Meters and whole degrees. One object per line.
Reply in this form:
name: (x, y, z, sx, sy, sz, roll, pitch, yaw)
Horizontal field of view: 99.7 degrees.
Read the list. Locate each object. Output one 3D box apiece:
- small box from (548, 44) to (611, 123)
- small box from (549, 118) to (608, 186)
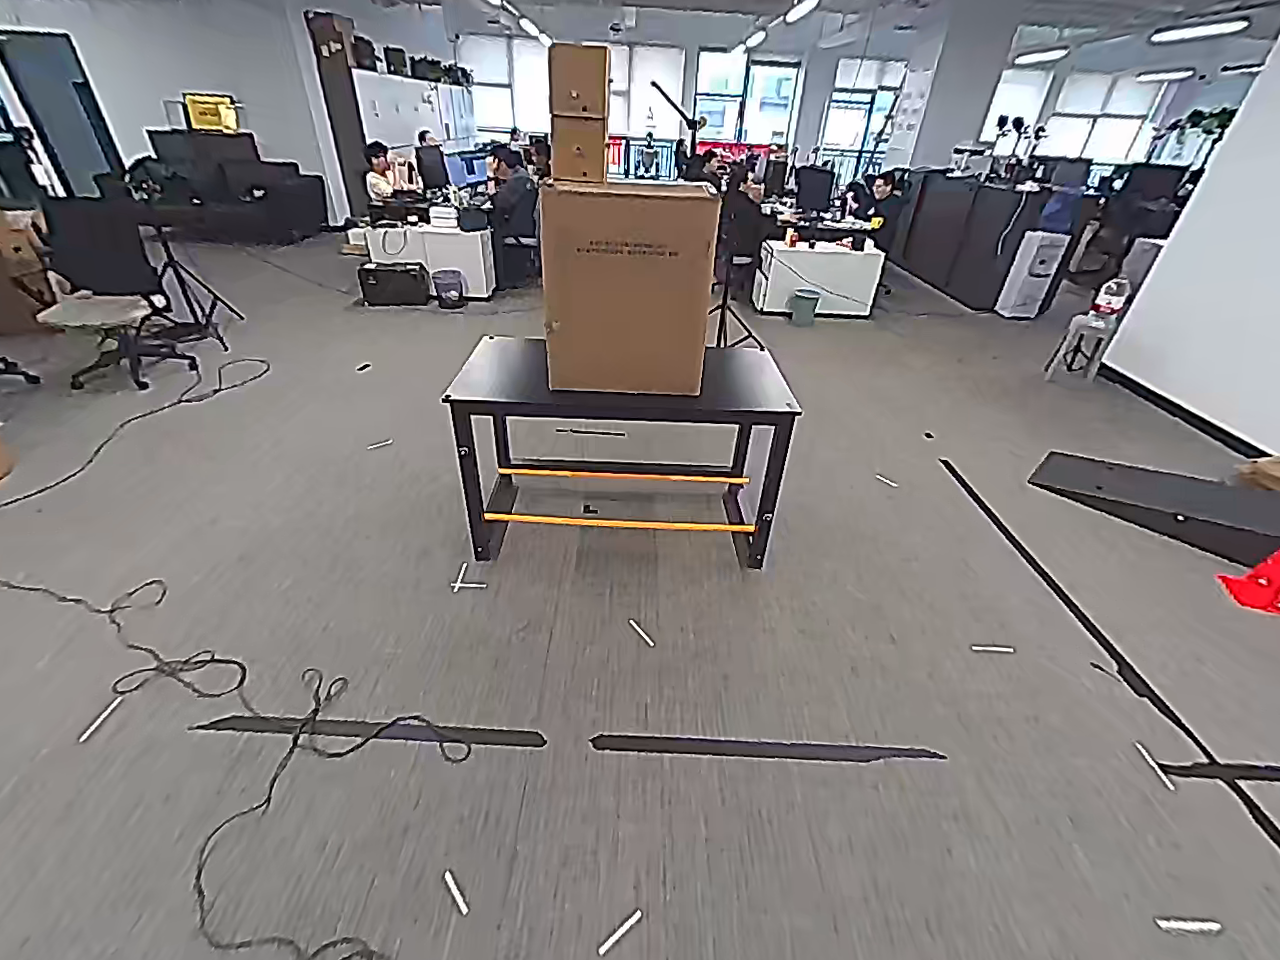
small box: (-0.176, -1.157, 1.589, 0.168, 0.176, 0.179, 3, 34, -1)
small box: (-0.188, -1.028, 1.693, 0.168, 0.176, 0.179, 3, 34, -2)
